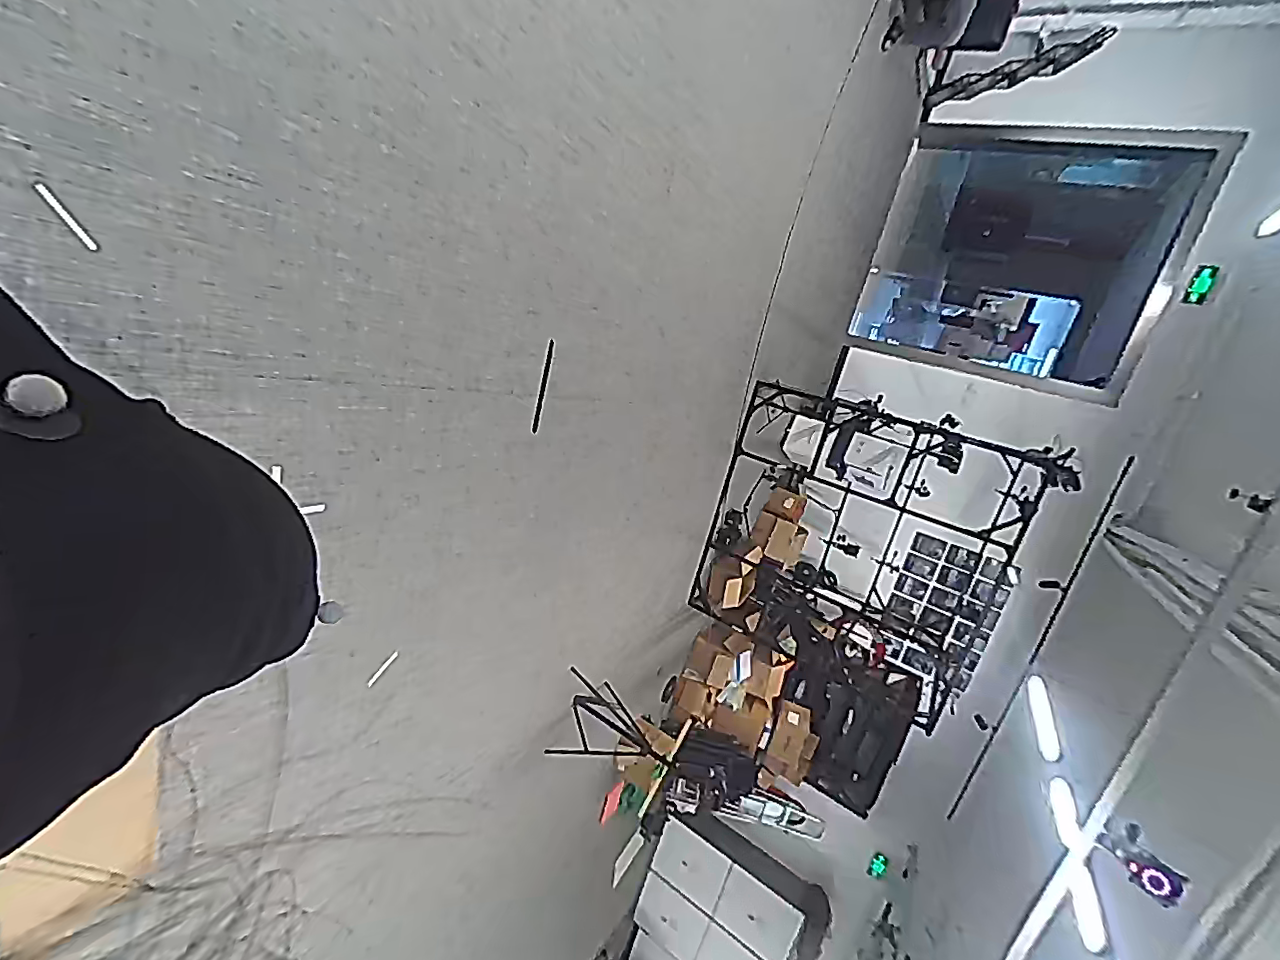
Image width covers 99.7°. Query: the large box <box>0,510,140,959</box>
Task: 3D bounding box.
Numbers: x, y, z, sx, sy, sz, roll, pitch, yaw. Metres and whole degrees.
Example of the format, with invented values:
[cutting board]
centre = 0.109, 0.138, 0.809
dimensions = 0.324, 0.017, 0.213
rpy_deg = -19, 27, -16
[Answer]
[large box]
centre = -0.740, 0.254, 0.486
dimensions = 0.320, 0.320, 0.408
rpy_deg = -40, 145, -71
